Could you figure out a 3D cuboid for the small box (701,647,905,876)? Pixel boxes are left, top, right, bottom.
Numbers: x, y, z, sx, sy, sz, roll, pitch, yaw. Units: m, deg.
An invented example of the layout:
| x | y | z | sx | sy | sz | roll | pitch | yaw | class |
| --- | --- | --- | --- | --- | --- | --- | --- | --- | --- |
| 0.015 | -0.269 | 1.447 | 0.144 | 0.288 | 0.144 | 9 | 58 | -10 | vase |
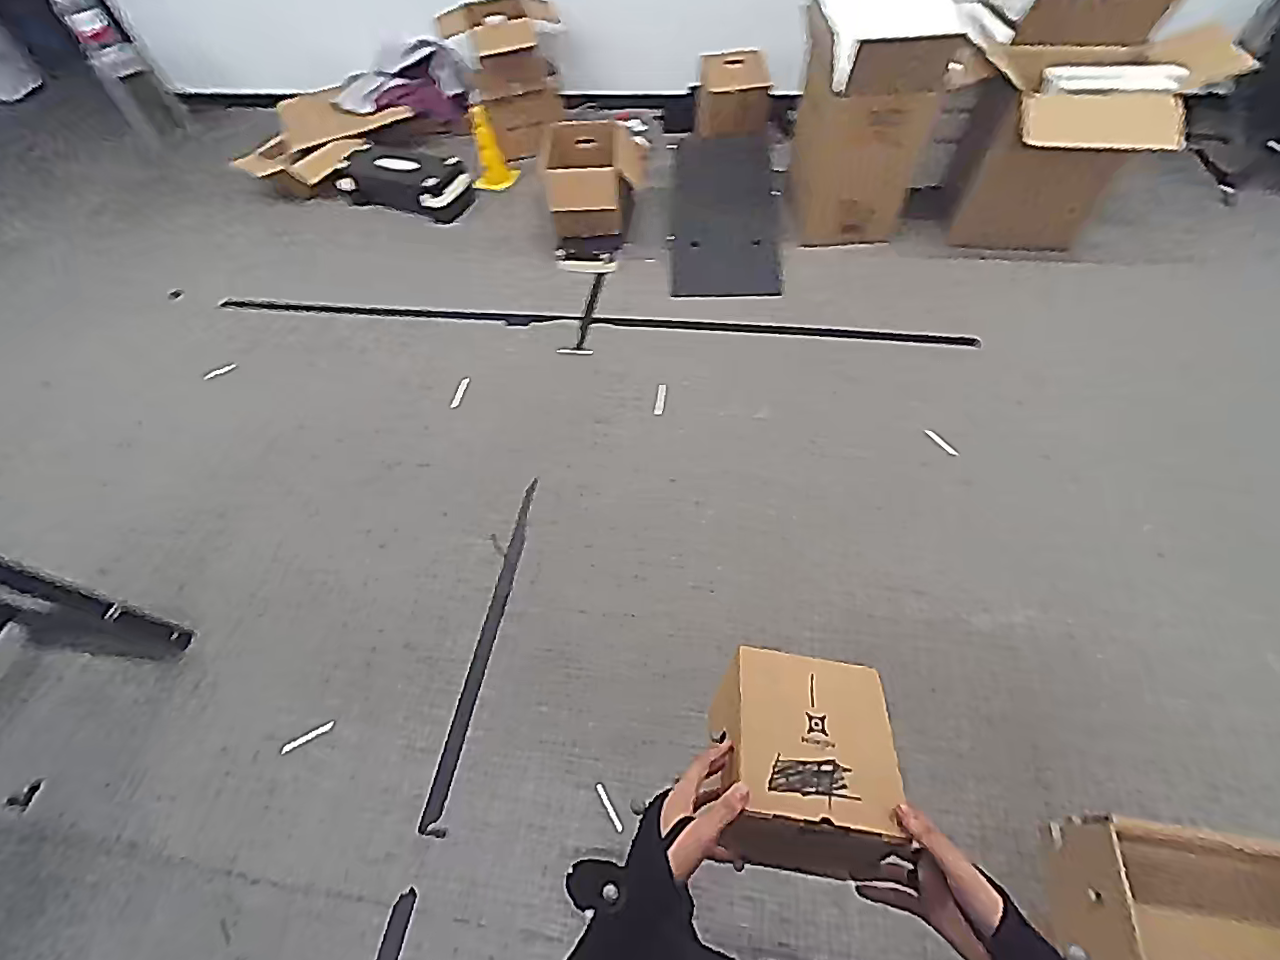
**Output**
| x | y | z | sx | sy | sz | roll | pitch | yaw | class |
| --- | --- | --- | --- | --- | --- | --- | --- | --- | --- |
| 0.166 | 0.320 | 0.613 | 0.168 | 0.176 | 0.179 | 9 | 42 | 0 | small box |
